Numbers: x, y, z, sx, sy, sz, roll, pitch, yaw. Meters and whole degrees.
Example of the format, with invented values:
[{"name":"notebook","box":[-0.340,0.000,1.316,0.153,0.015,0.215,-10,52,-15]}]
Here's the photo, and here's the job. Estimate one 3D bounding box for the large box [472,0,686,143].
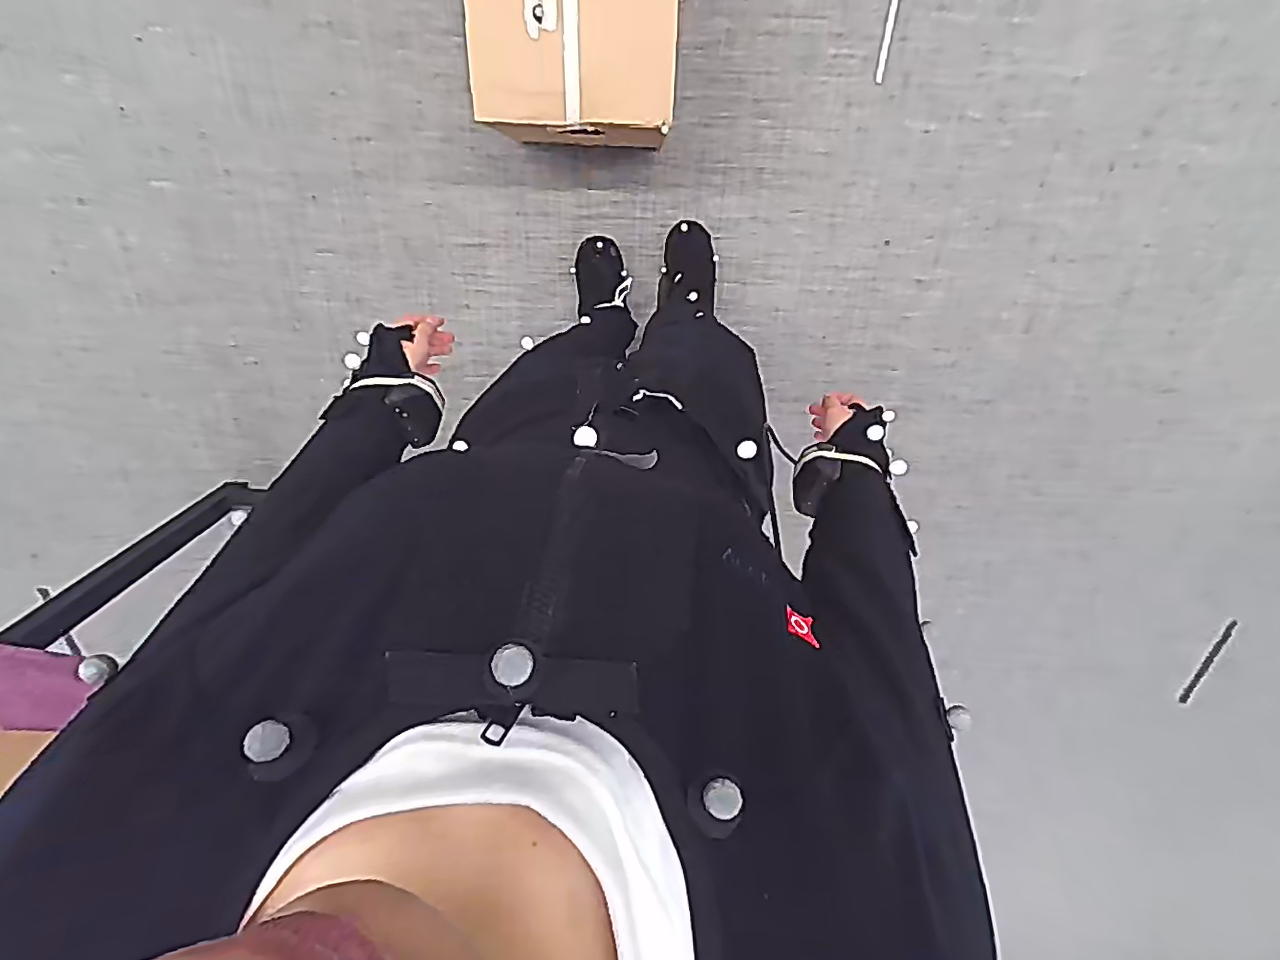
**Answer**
[{"name":"large box","box":[-0.089,-0.803,0.885,0.320,0.320,0.408,2,118,0]}]
